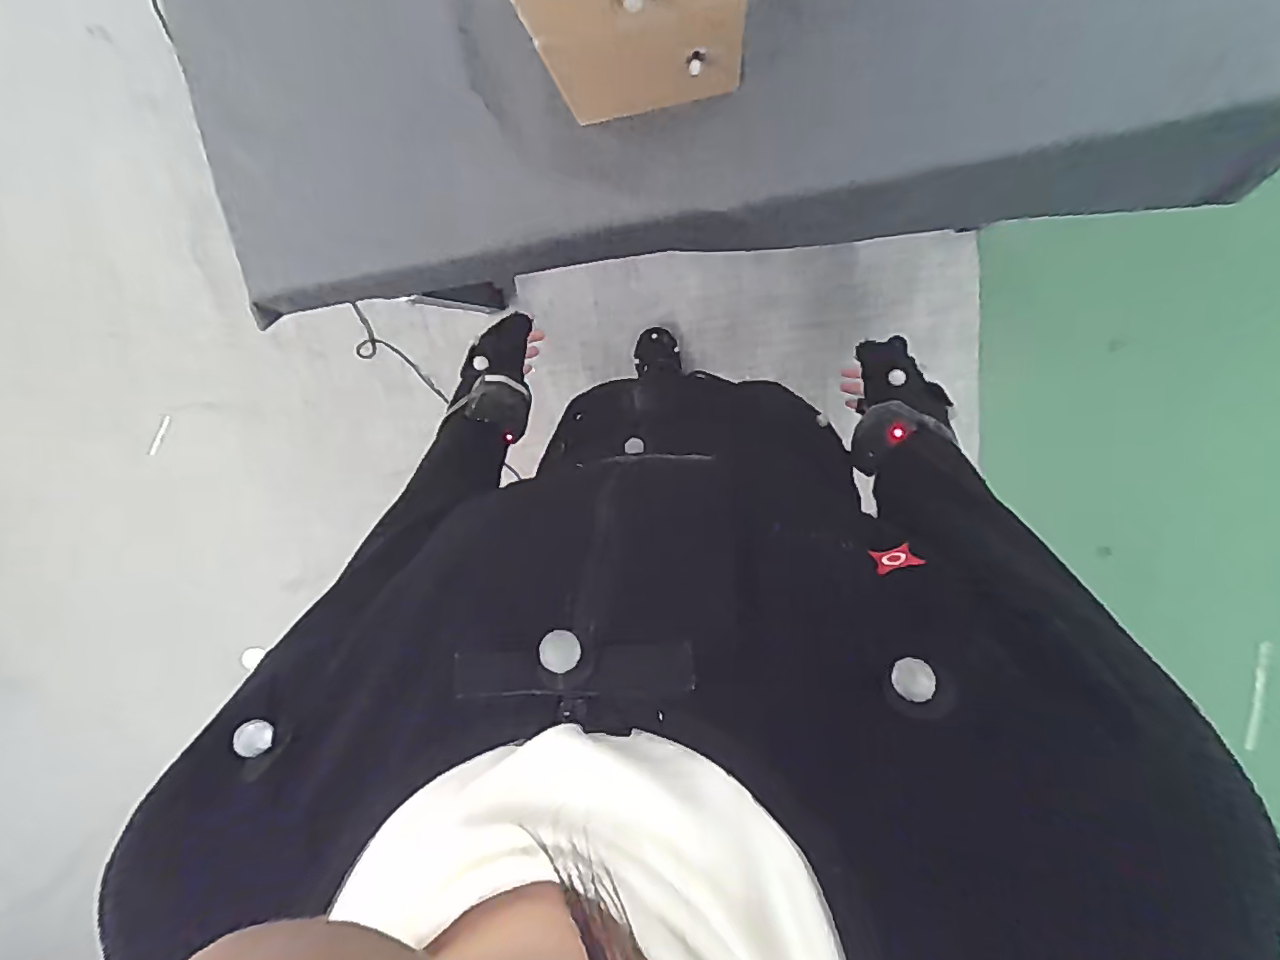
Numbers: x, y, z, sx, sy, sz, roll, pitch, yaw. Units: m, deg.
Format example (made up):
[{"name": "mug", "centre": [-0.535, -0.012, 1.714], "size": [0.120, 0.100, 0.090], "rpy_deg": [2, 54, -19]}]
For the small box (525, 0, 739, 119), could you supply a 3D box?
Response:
[{"name": "small box", "centre": [-0.009, -0.467, 0.492], "size": [0.179, 0.176, 0.168], "rpy_deg": [-8, 102, 10]}]
